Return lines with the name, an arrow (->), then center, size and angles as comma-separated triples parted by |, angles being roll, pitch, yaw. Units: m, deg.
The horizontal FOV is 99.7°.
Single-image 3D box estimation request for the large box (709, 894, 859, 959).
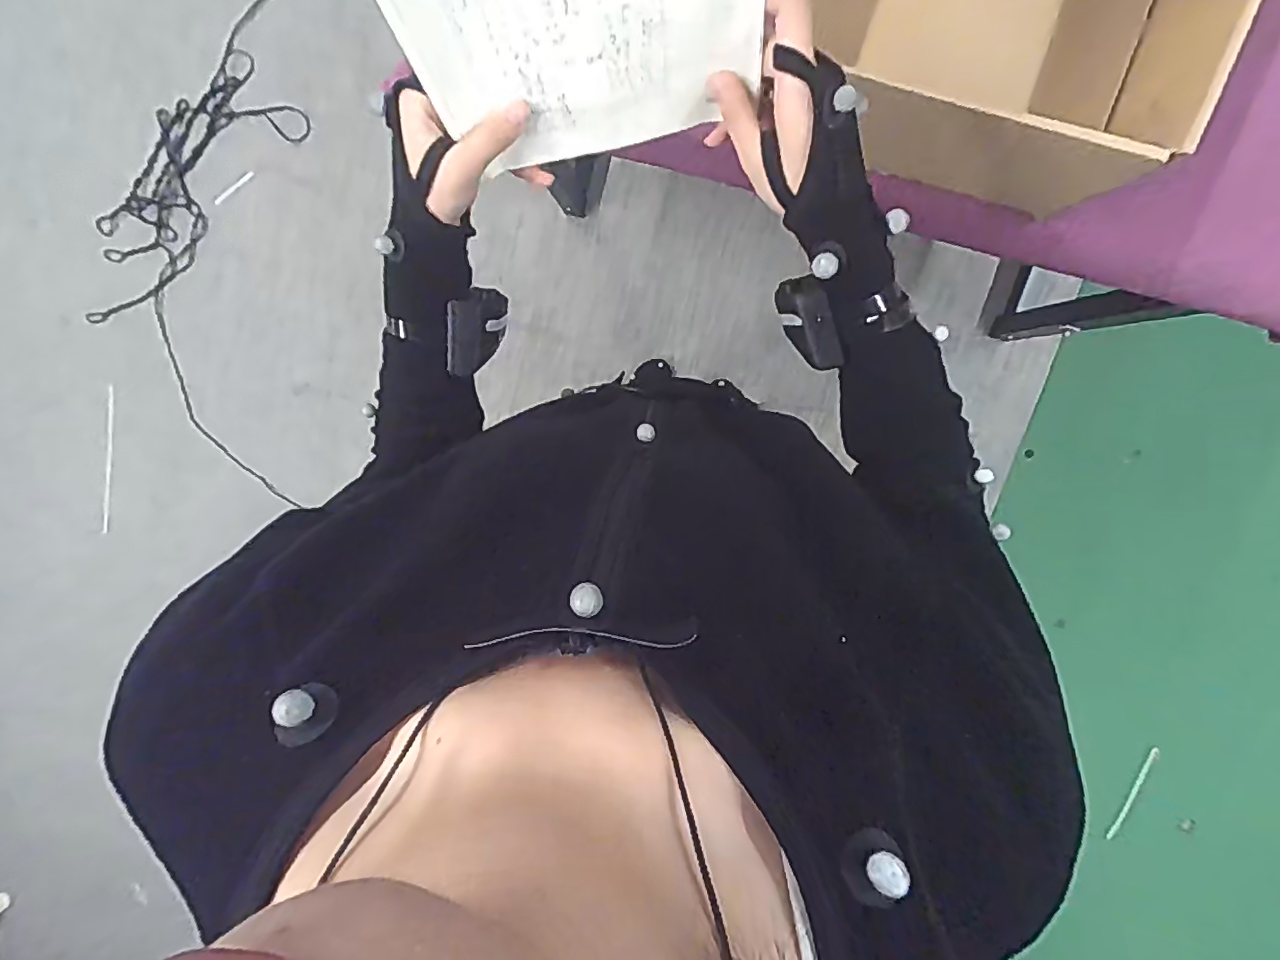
large box -> 0.408, 1.467, 1.554 | 0.408, 0.320, 0.320 | 1, 100, 3
